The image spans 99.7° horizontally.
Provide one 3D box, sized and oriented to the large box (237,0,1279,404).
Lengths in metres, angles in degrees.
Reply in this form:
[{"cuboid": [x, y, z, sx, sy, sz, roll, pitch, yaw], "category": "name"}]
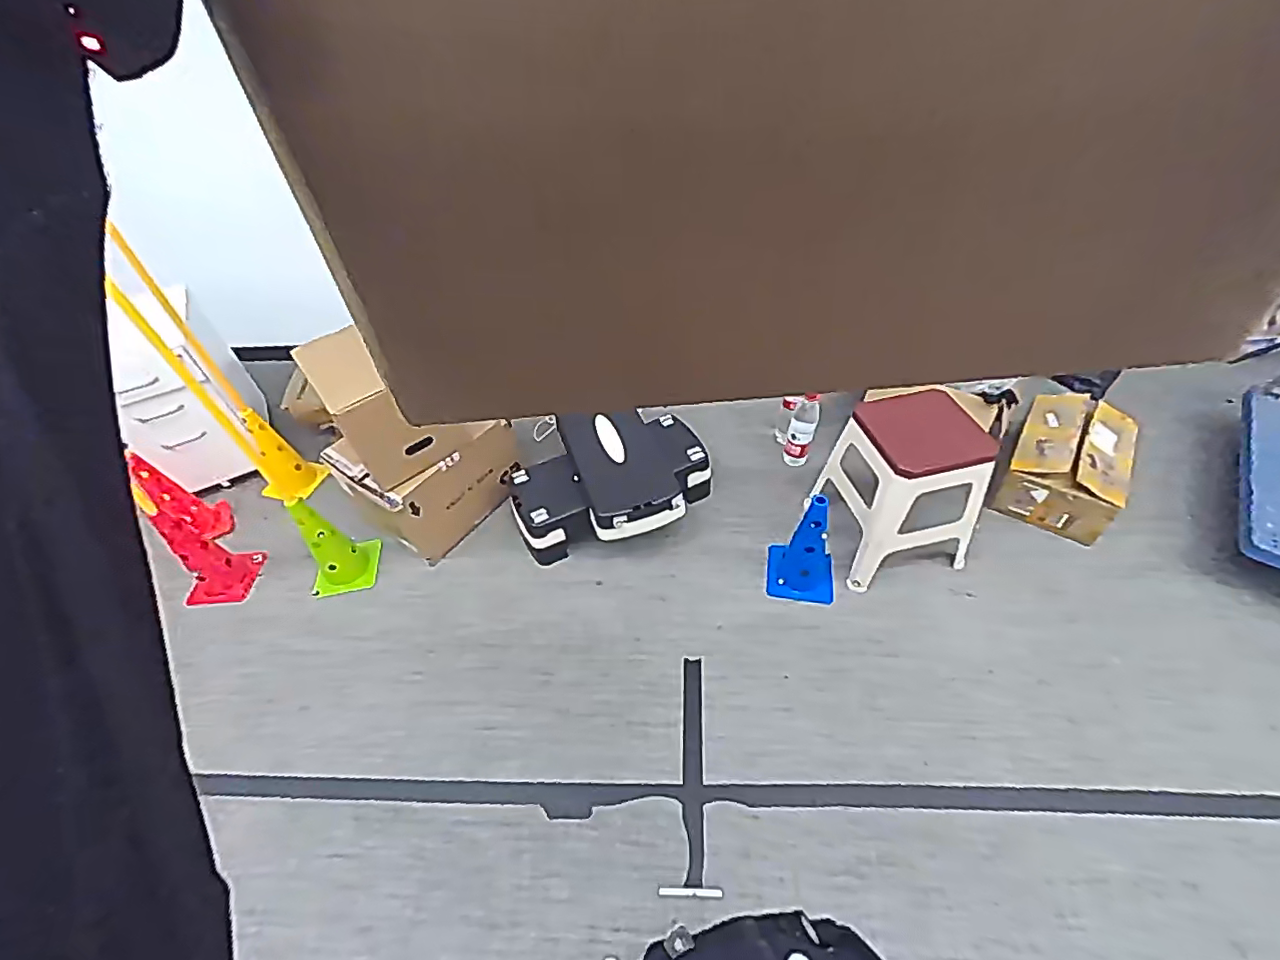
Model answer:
[{"cuboid": [0.063, -0.260, 0.274, 0.408, 0.320, 0.320, -4, 44, 0], "category": "large box"}]
